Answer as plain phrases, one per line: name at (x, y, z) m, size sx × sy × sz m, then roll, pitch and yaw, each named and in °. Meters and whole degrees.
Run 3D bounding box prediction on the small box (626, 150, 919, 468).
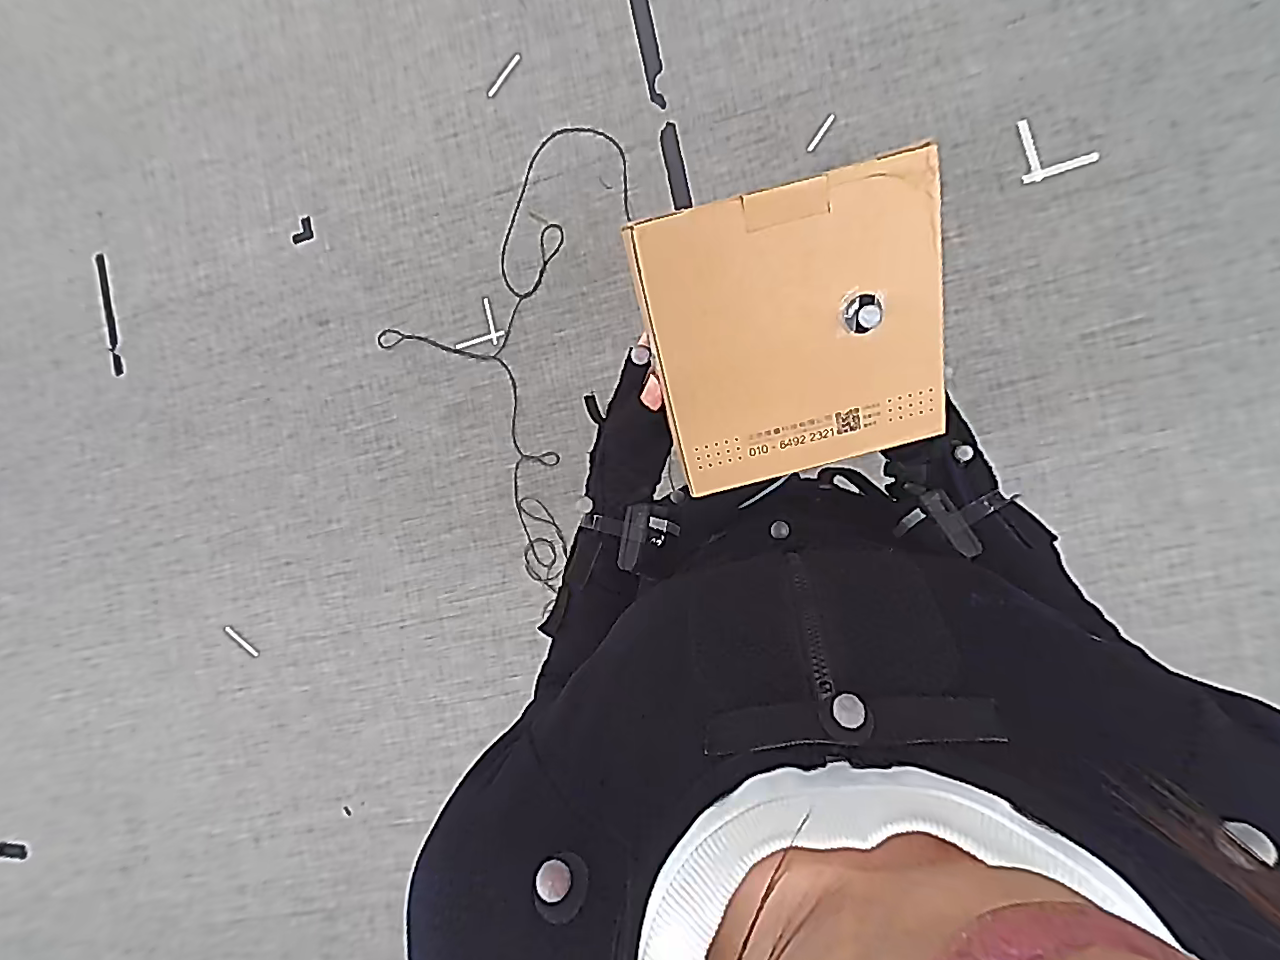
small box at (0.090, -0.121, 0.407) m, size 0.168 × 0.179 × 0.176 m, roll -14°, pitch 114°, yaw 3°
